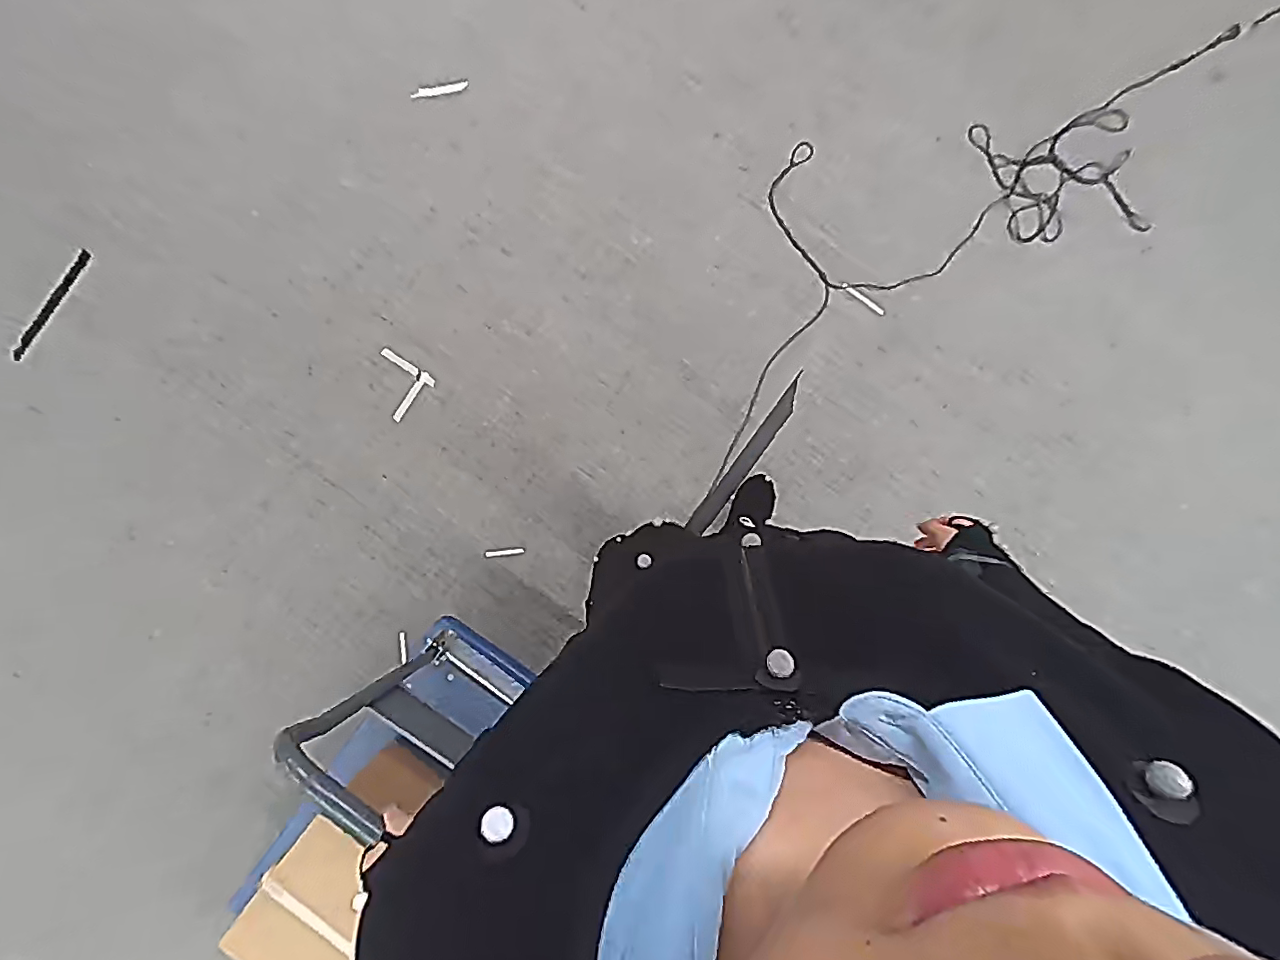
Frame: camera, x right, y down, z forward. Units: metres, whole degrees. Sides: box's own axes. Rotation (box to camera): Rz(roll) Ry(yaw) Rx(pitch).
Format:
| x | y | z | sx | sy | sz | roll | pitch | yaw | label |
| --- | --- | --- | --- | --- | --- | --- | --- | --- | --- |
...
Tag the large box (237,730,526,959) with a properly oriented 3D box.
| x | y | z | sx | sy | sz | roll | pitch | yaw | label |
| --- | --- | --- | --- | --- | --- | --- | --- | --- | --- |
| -0.521 | 0.839 | 1.176 | 0.408 | 0.320 | 0.320 | 37 | 90 | 1 | large box |
